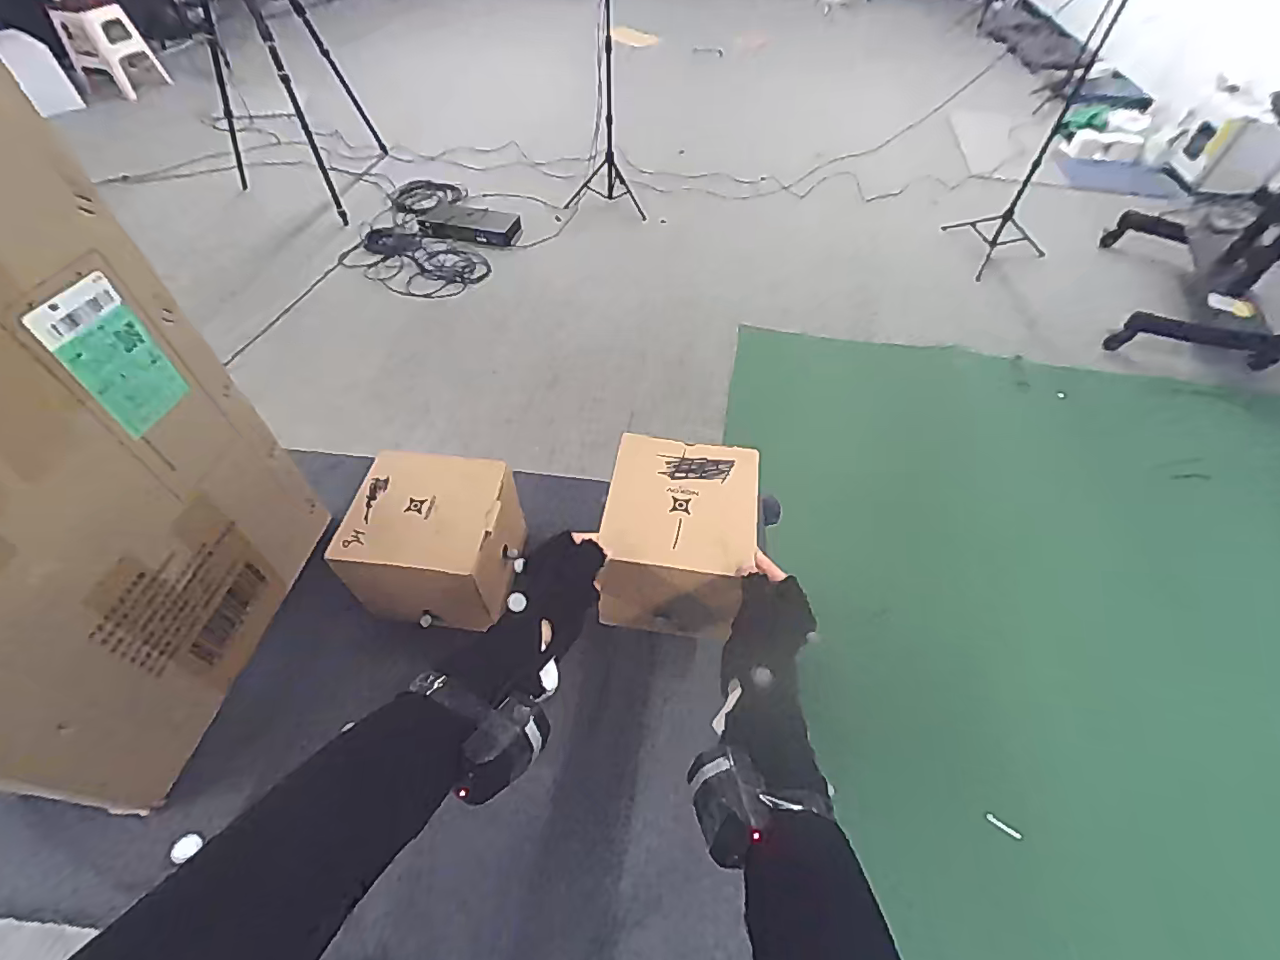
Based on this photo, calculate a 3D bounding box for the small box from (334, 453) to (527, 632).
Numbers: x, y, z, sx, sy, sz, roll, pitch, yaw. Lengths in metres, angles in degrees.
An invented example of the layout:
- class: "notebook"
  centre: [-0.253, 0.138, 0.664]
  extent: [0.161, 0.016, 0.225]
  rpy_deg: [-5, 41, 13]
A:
- class: "small box"
  centre: [-0.259, 0.089, 0.724]
  extent: [0.179, 0.176, 0.168]
  rpy_deg: [7, 51, 2]

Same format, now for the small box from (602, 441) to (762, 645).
- class: "small box"
  centre: [0.051, 0.080, 0.665]
  extent: [0.168, 0.176, 0.179]
  rpy_deg: [7, 52, 5]
